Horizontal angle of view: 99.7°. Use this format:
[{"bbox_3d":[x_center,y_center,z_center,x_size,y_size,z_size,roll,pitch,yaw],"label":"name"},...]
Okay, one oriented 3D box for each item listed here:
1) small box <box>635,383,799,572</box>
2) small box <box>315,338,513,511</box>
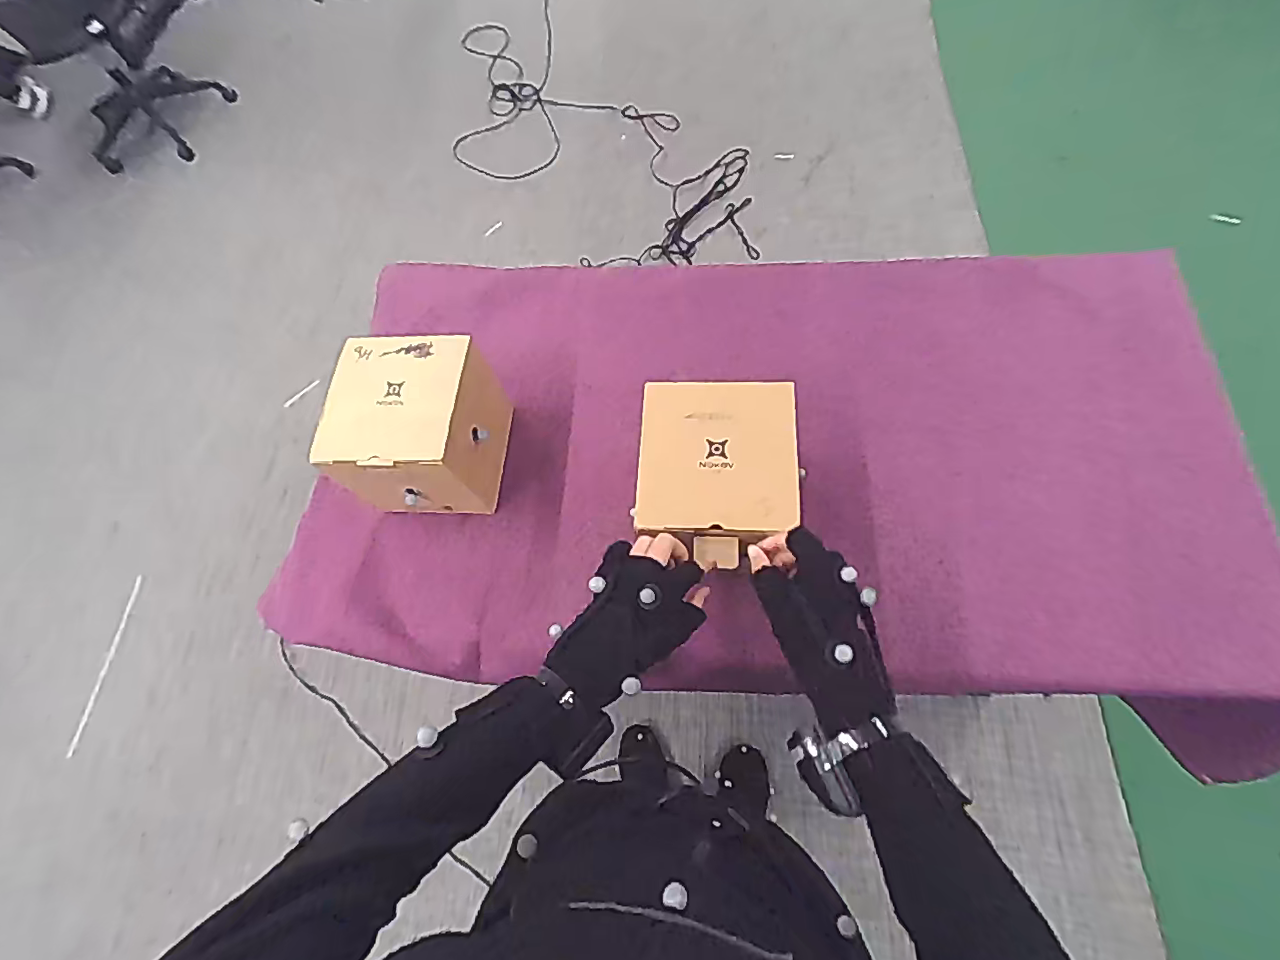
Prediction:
[{"bbox_3d":[0.091,0.005,0.638,0.168,0.176,0.179,2,67,7],"label":"small box"},{"bbox_3d":[-0.279,-0.065,0.712,0.168,0.176,0.179,1,67,7],"label":"small box"}]
